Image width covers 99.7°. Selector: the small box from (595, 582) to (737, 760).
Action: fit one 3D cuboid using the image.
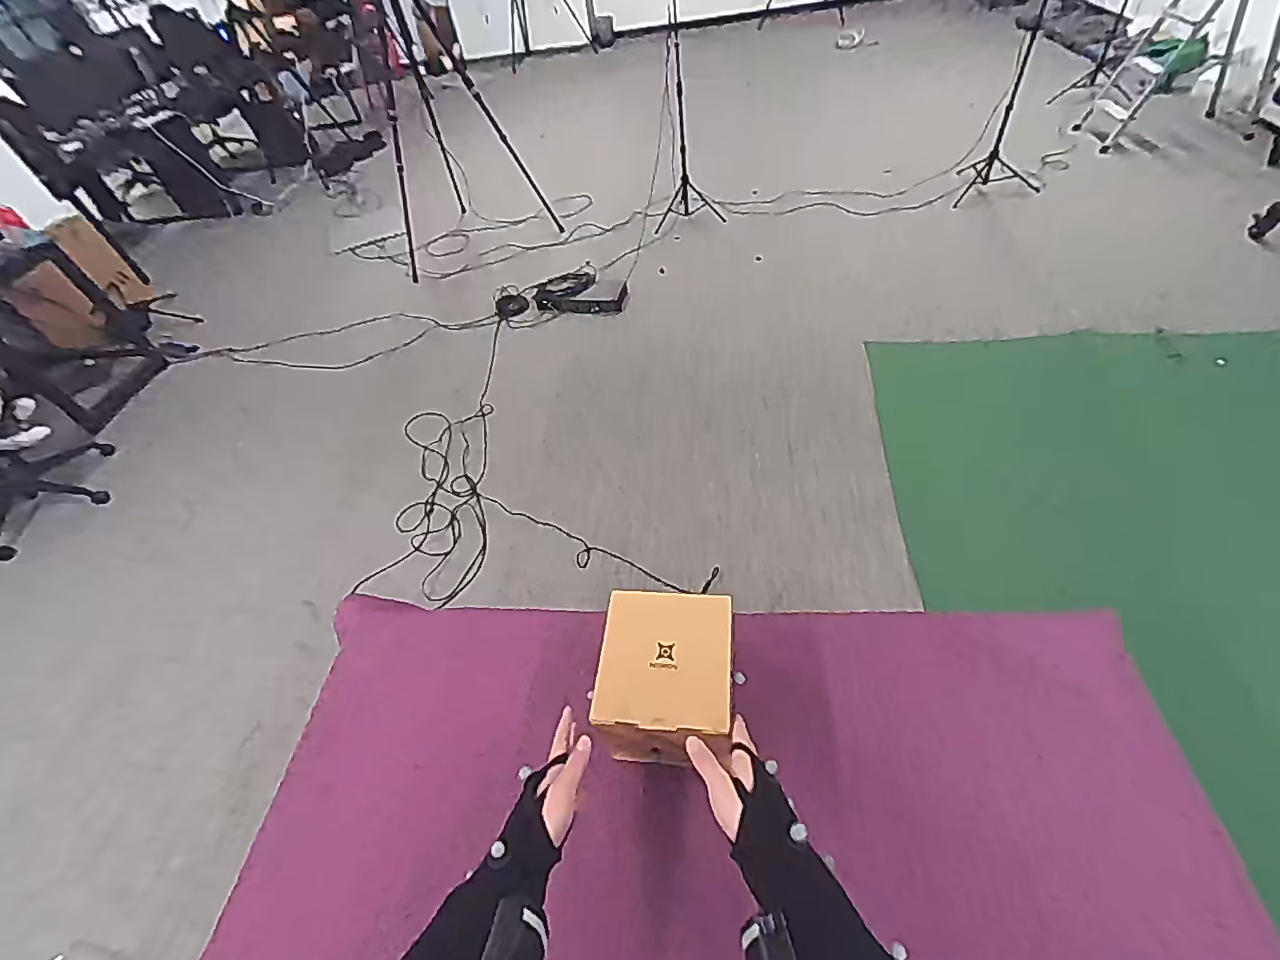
[{"bbox_3d":[0.045,0.259,0.734,0.168,0.176,0.179,1,52,9],"label":"small box"}]
